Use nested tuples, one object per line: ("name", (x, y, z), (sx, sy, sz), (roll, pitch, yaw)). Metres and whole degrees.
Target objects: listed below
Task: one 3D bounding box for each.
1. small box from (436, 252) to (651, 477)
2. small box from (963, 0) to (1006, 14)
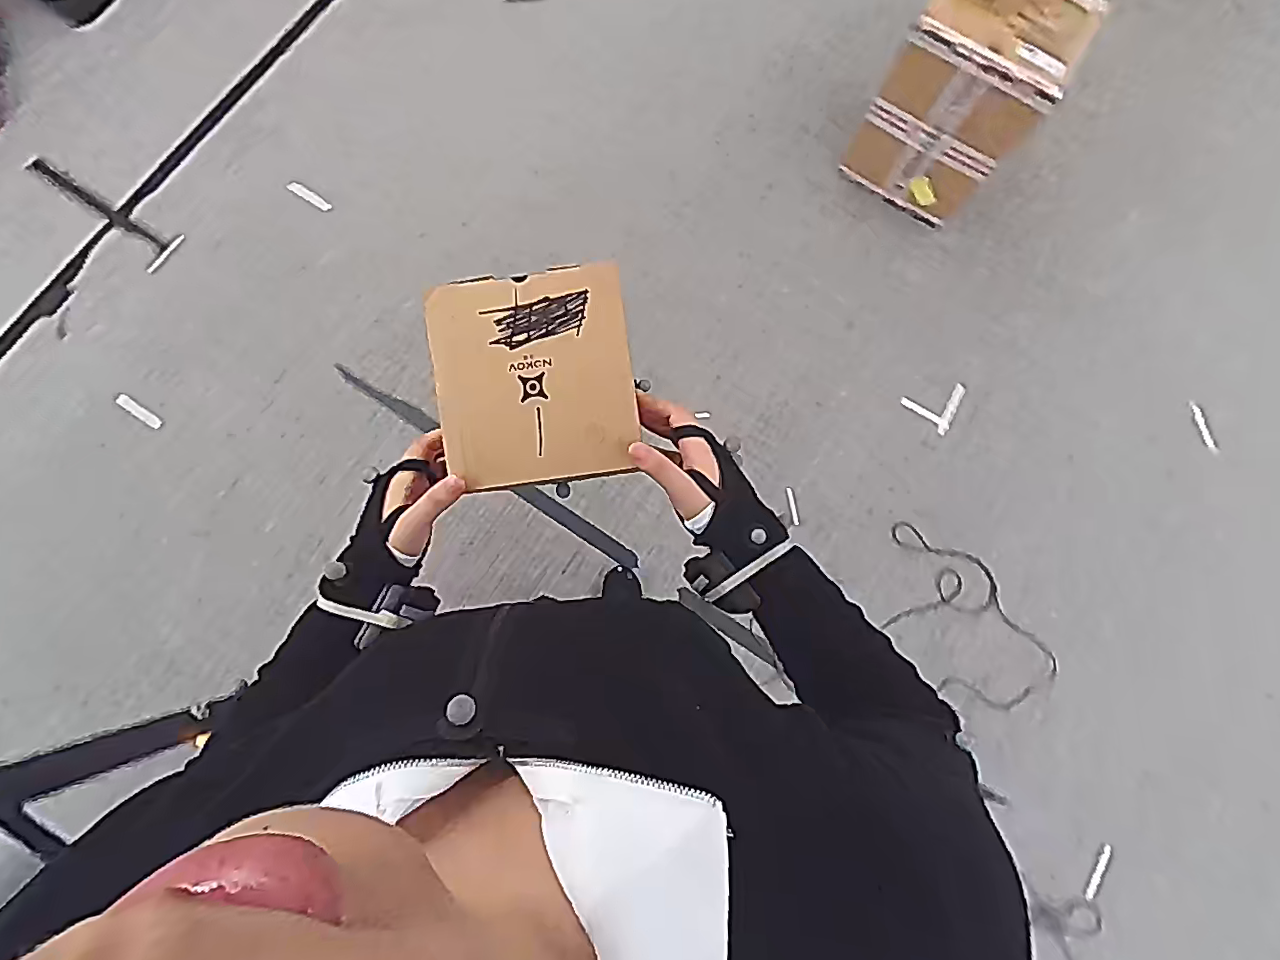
("small box", (-0.080, -0.096, 0.529), (0.168, 0.176, 0.179), (-7, 91, 1))
("small box", (0.846, -1.258, 1.260), (0.168, 0.176, 0.179), (32, 81, 5))
